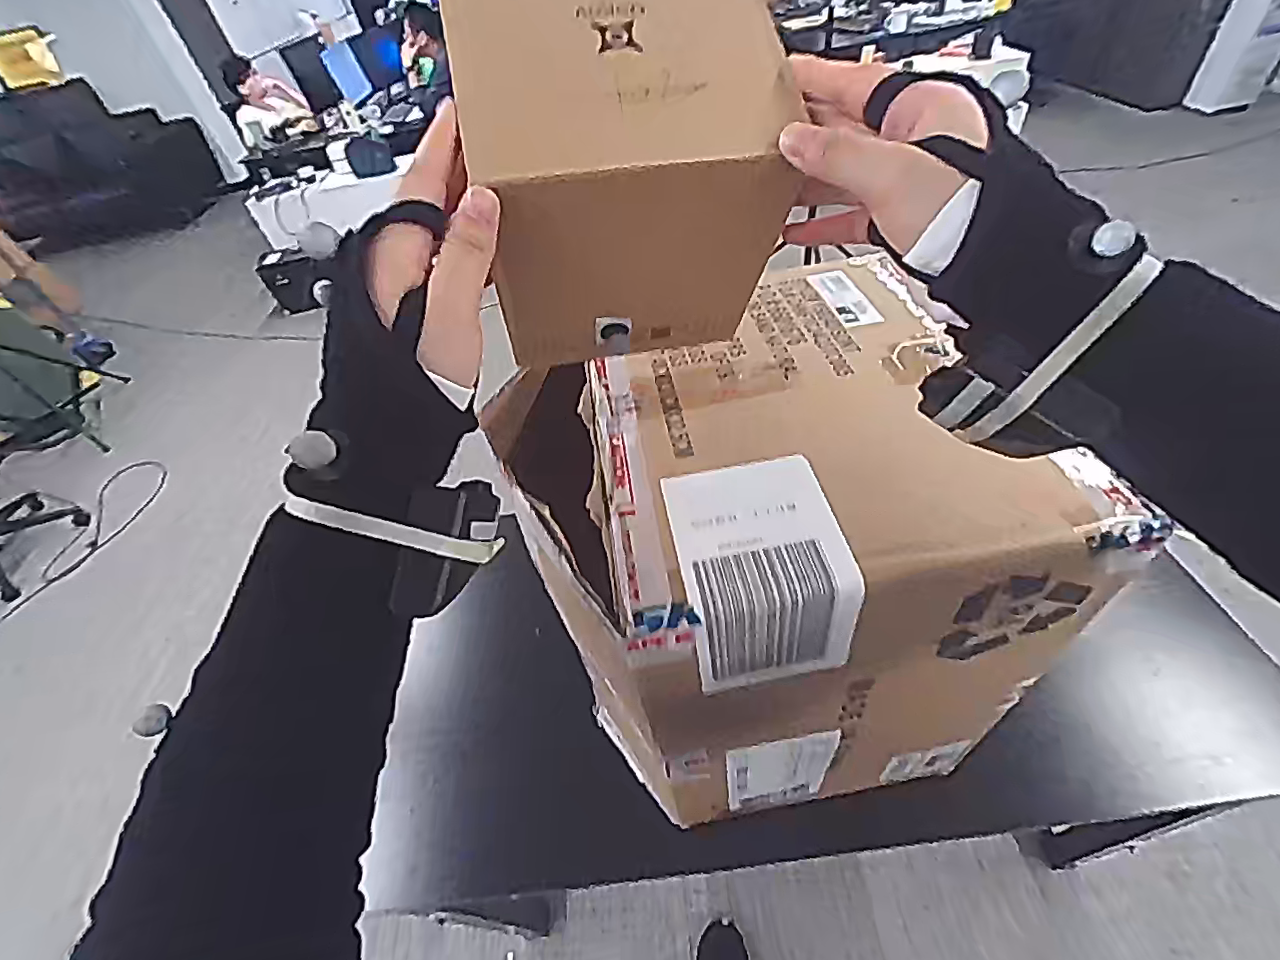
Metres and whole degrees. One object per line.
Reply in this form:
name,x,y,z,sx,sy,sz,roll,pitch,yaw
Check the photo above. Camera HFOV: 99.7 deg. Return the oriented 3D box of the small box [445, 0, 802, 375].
small box,-0.021,-0.195,0.358,0.168,0.176,0.179,-10,73,-7
